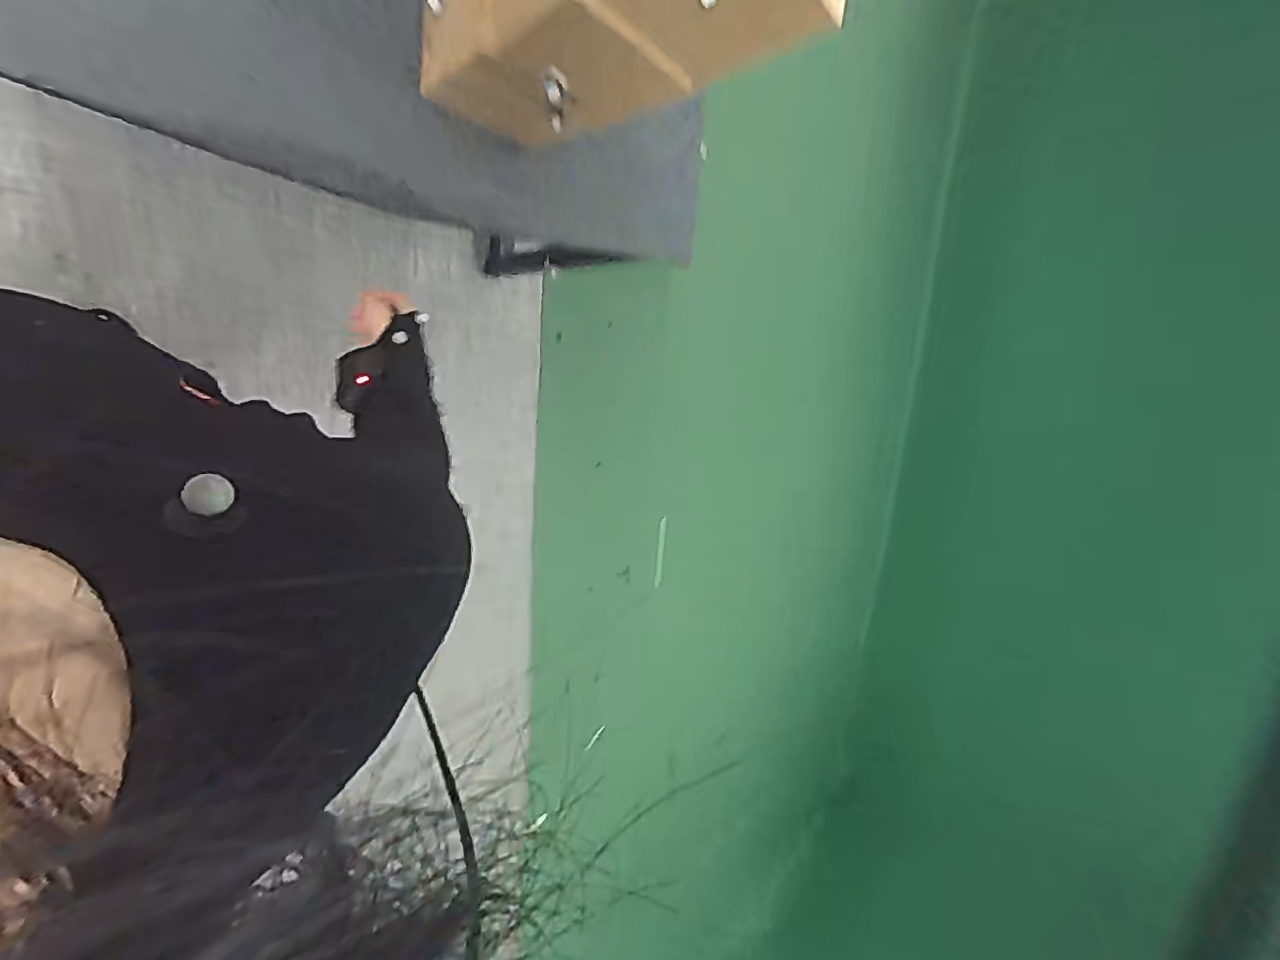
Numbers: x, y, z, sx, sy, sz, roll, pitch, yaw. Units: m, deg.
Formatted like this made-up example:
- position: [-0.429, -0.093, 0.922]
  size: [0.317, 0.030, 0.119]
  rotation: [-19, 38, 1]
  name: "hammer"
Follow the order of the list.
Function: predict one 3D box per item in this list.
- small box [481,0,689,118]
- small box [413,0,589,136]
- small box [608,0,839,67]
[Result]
- position: [-0.051, -0.527, 0.568]
  size: [0.168, 0.176, 0.179]
  rotation: [2, 101, -43]
  name: "small box"
- position: [-0.161, -0.565, 0.680]
  size: [0.179, 0.176, 0.168]
  rotation: [-1, 101, -45]
  name: "small box"
- position: [0.064, -0.498, 0.454]
  size: [0.179, 0.176, 0.168]
  rotation: [4, 98, -44]
  name: "small box"
